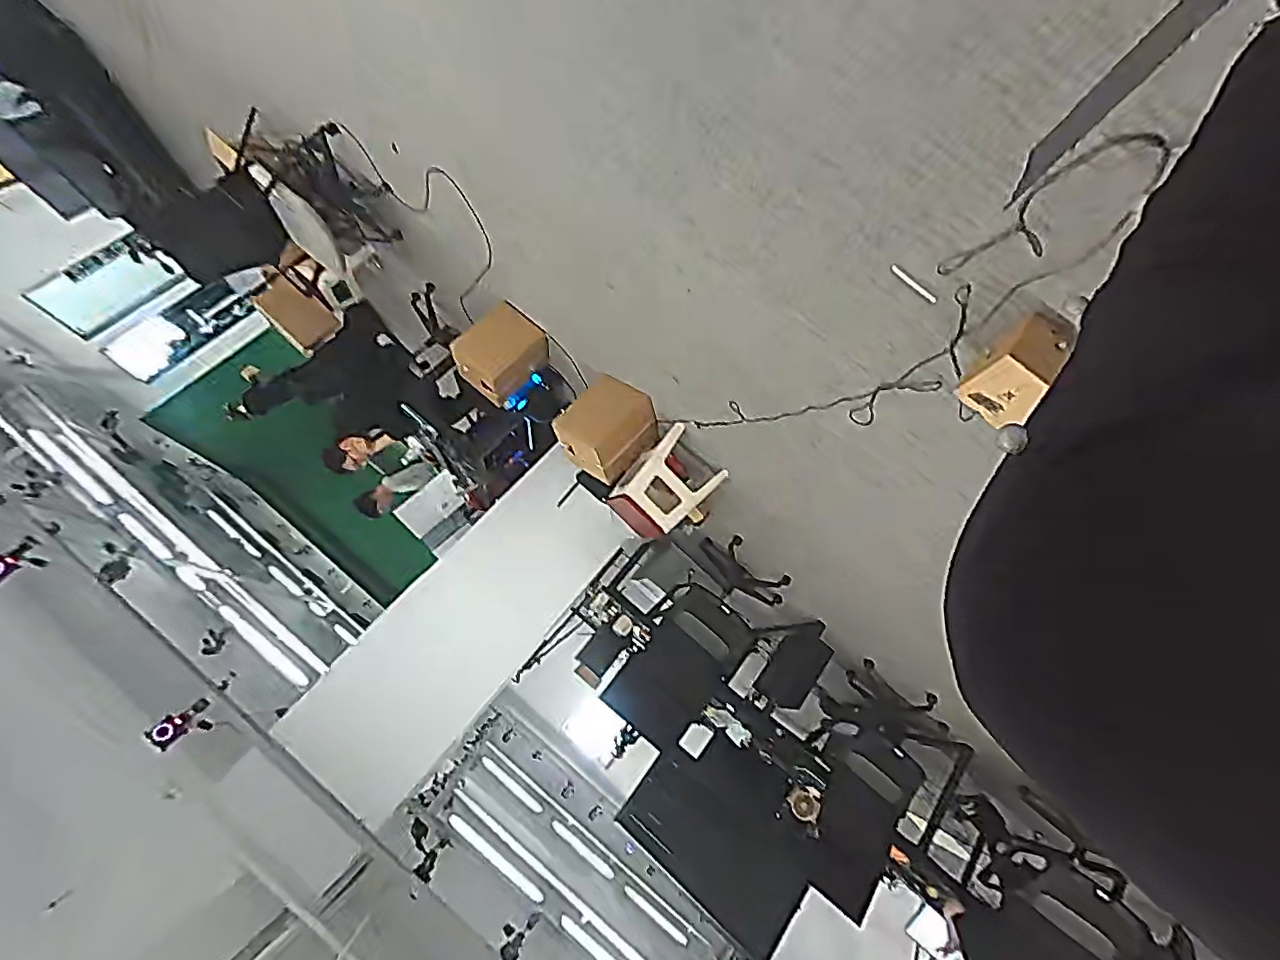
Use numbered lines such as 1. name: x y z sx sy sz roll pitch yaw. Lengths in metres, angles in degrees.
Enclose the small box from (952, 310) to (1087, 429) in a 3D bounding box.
1. small box: 0.891 -0.257 1.270 0.168 0.176 0.179 39 159 4
